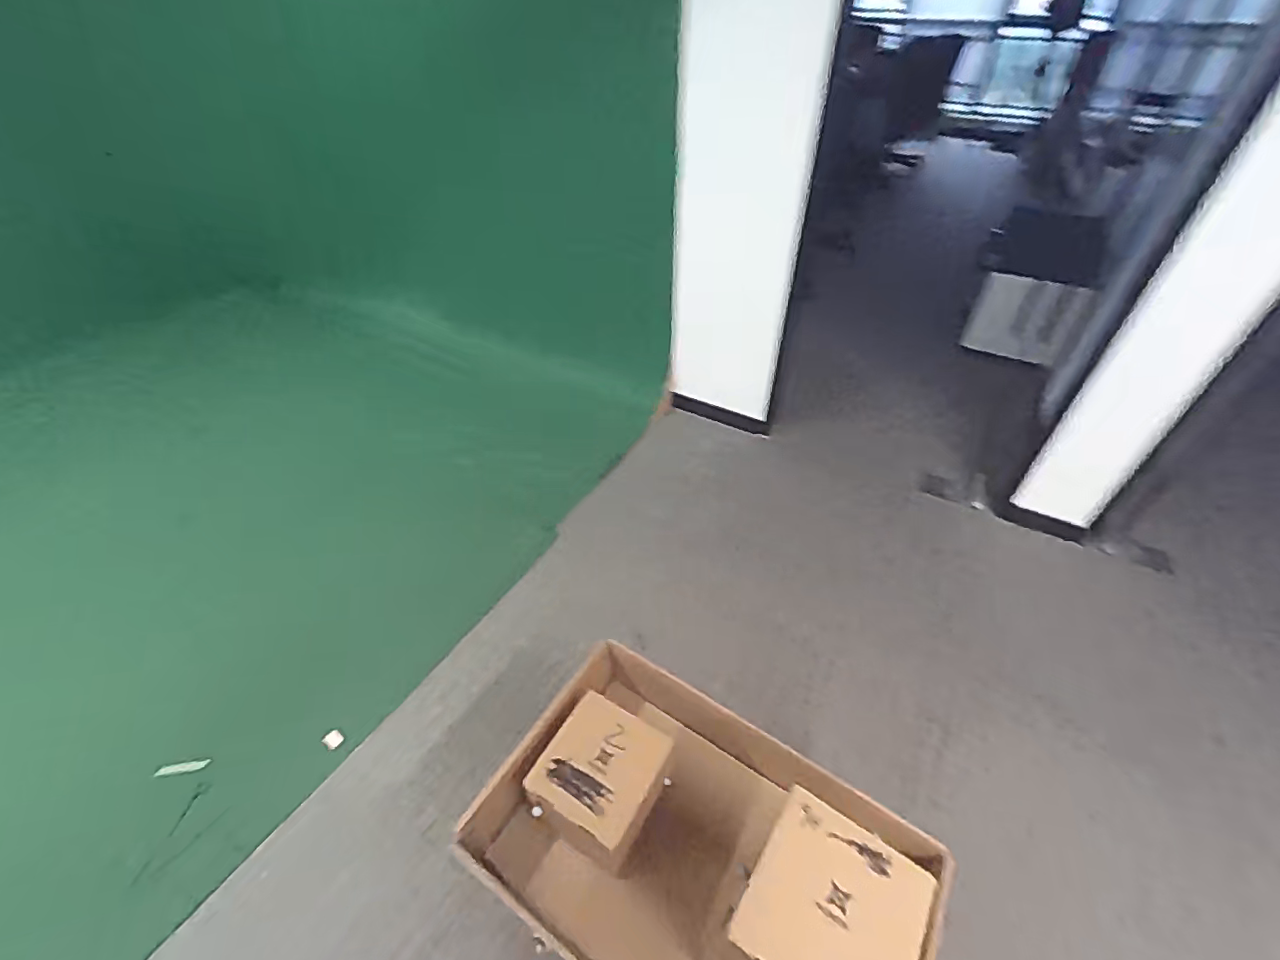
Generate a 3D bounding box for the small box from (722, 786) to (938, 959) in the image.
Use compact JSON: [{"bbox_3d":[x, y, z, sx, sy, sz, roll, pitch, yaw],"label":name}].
[{"bbox_3d":[0.204,0.502,0.615,0.168,0.176,0.179,26,50,26],"label":"small box"}]
